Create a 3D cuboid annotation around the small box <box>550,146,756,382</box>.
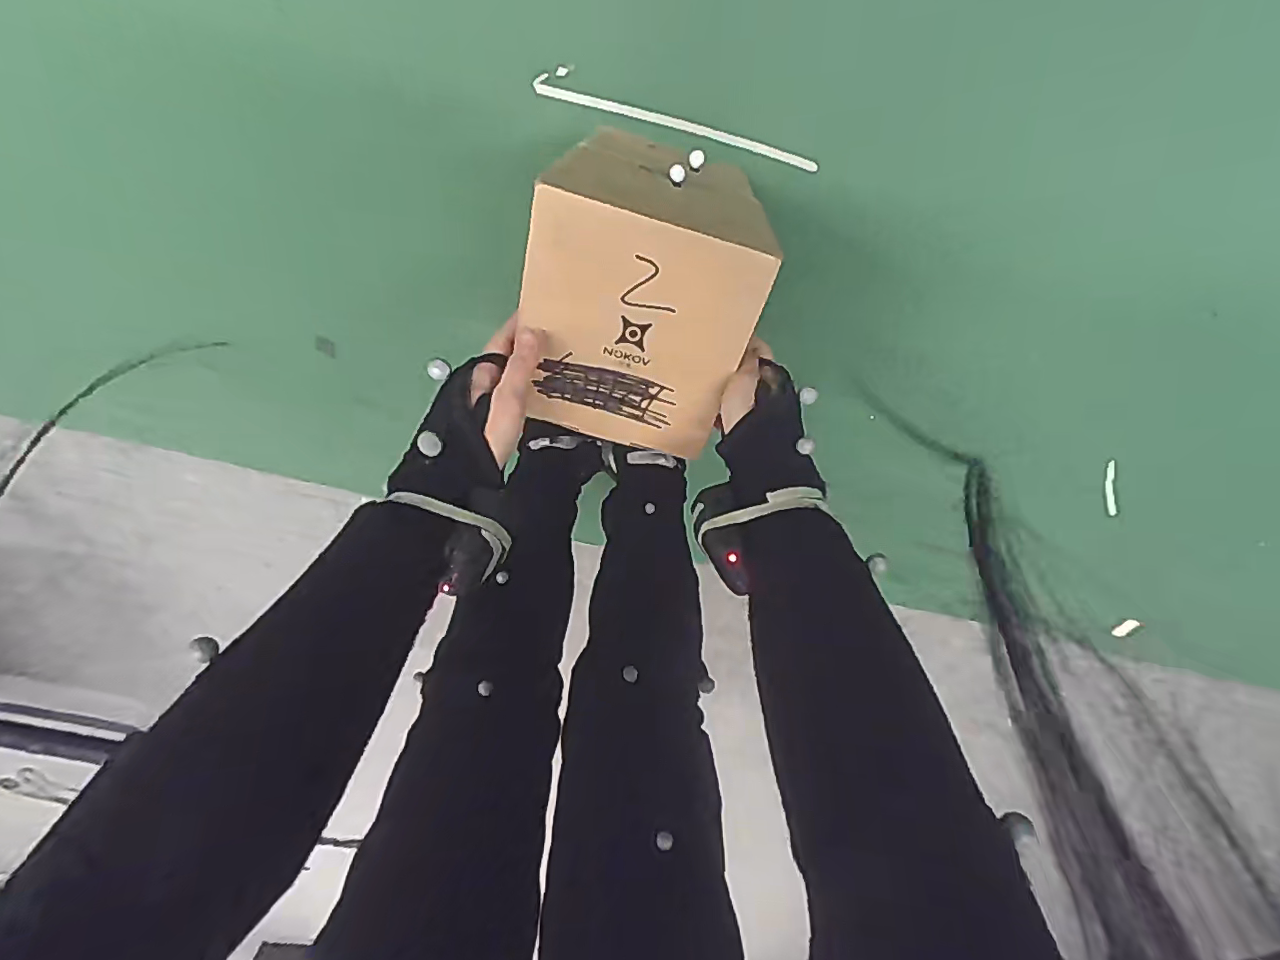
[{"bbox_3d":[0.010,-0.240,0.590,0.168,0.176,0.179,15,128,-6],"label":"small box"}]
